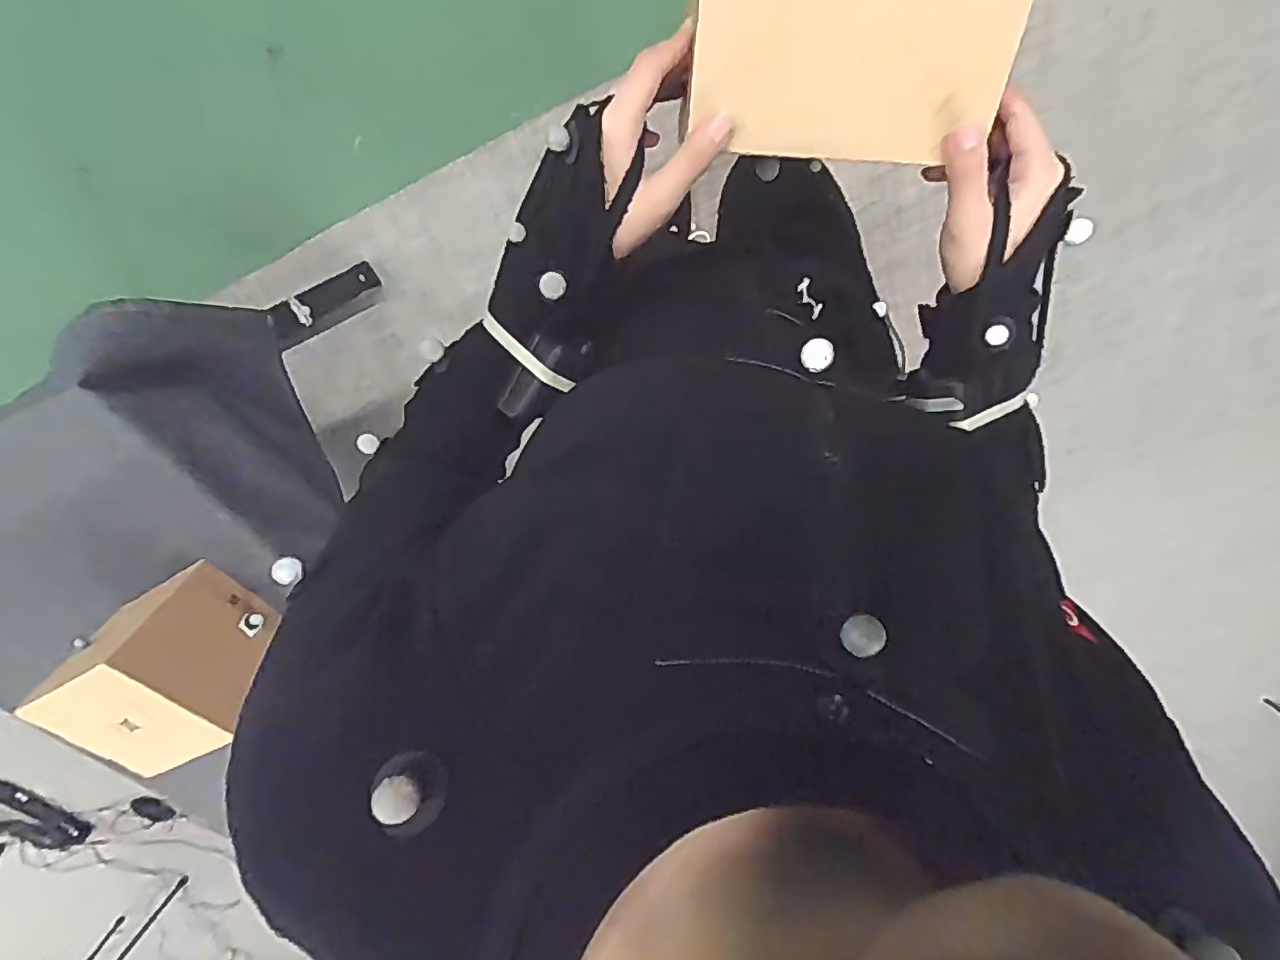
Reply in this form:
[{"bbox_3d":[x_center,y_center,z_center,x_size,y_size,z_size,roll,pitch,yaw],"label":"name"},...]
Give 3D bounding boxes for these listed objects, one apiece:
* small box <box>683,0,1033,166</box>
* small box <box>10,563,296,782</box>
[{"bbox_3d":[0.115,-0.297,0.323,0.168,0.176,0.179,3,122,0],"label":"small box"},{"bbox_3d":[-0.586,0.238,0.680,0.179,0.176,0.168,-27,121,15],"label":"small box"}]
